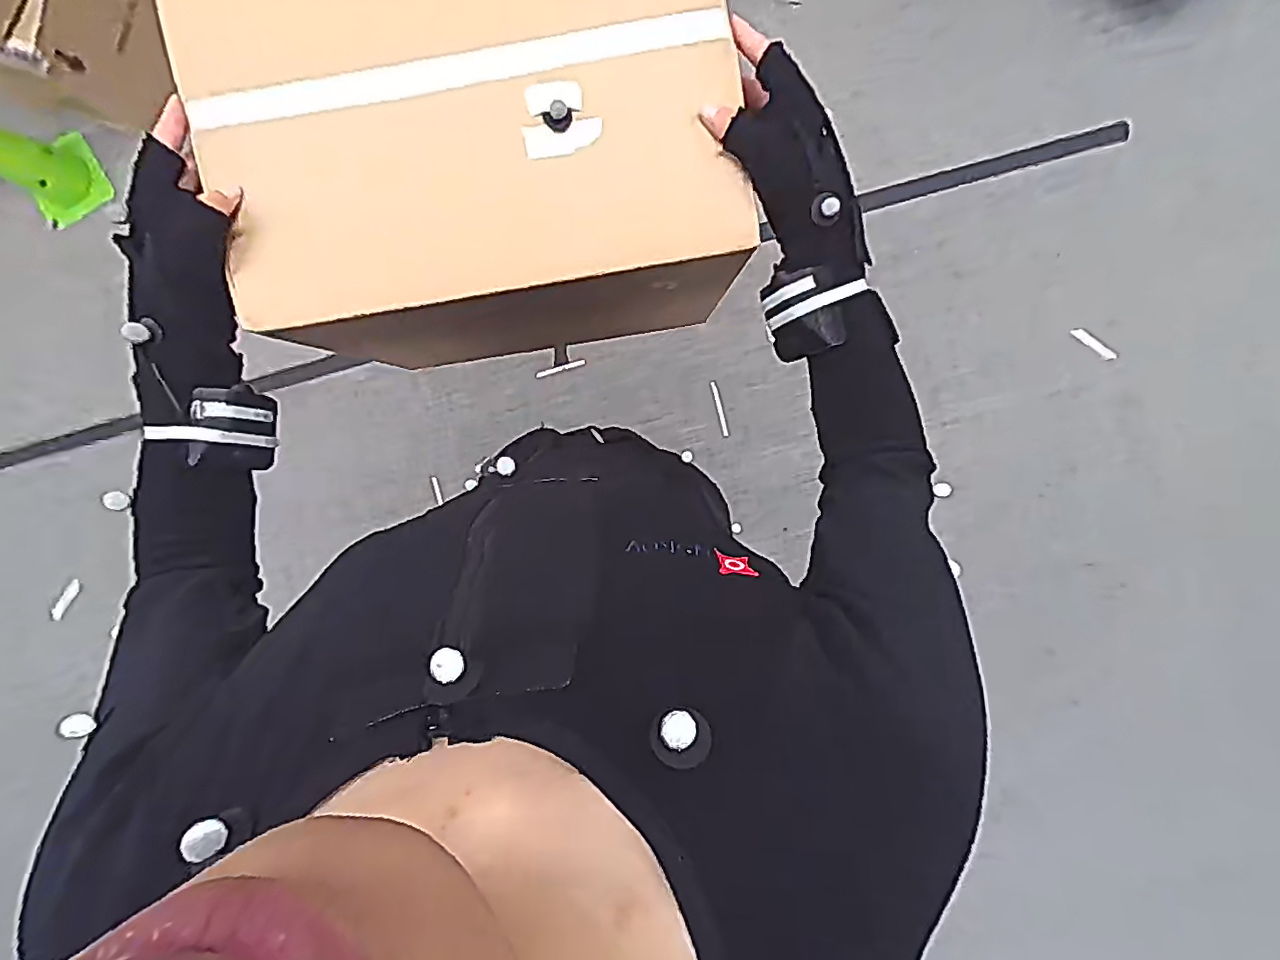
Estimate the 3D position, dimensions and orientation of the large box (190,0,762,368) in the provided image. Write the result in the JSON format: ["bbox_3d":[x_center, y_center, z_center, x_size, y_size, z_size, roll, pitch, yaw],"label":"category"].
[{"bbox_3d":[-0.128,-0.317,0.556,0.408,0.320,0.320,-9,96,-1],"label":"large box"}]
